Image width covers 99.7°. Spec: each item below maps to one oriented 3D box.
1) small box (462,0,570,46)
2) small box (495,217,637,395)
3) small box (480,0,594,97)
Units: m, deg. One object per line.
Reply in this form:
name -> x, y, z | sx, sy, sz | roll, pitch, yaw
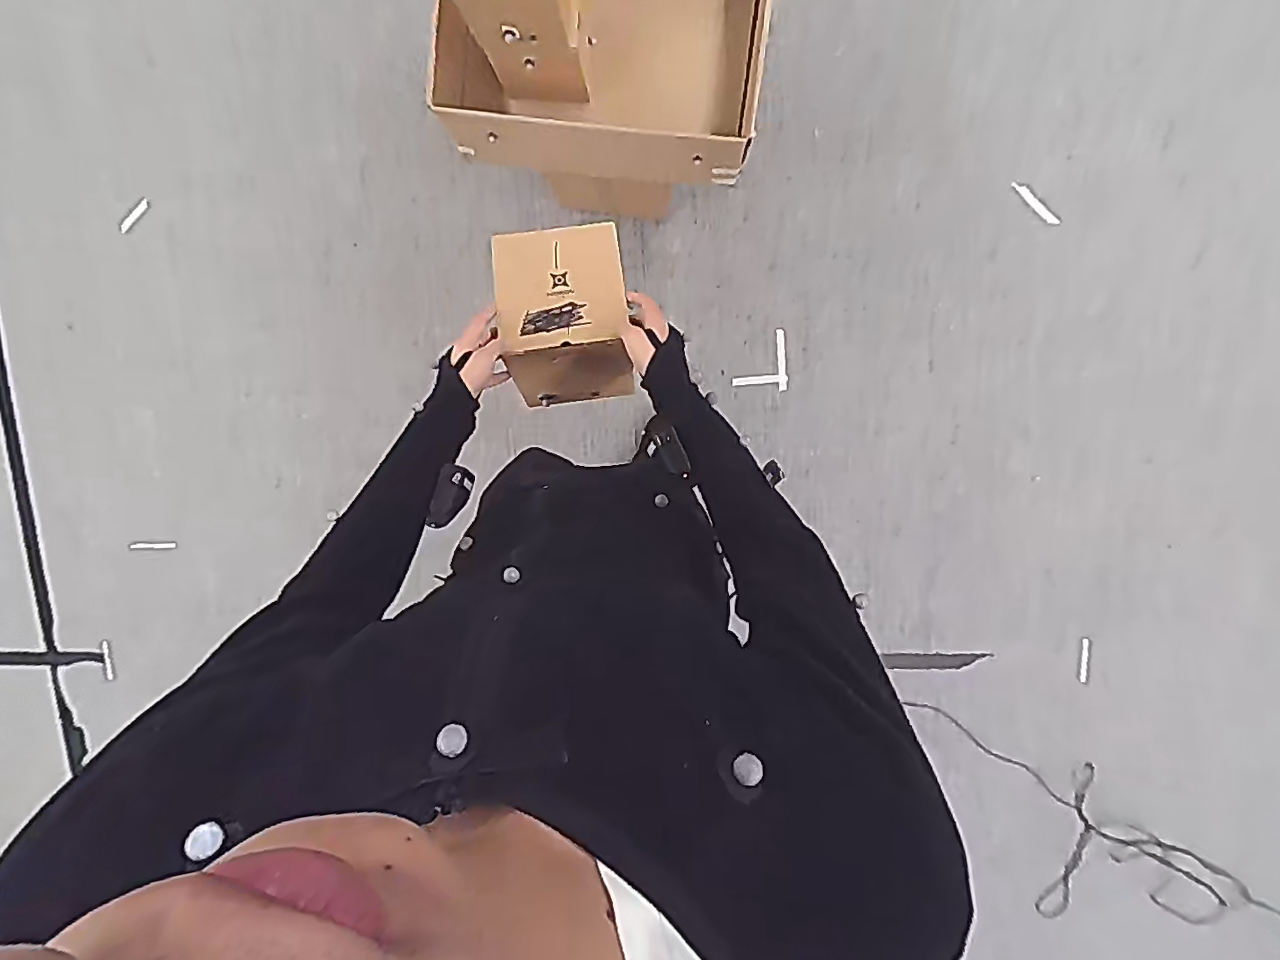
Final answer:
small box -> -0.208, -0.847, 0.867 | 0.168, 0.176, 0.179 | 2, 96, 4
small box -> -0.096, -0.230, 0.759 | 0.168, 0.176, 0.179 | -7, 75, -1
small box -> -0.189, -0.865, 1.029 | 0.179, 0.176, 0.168 | 4, 97, 2
